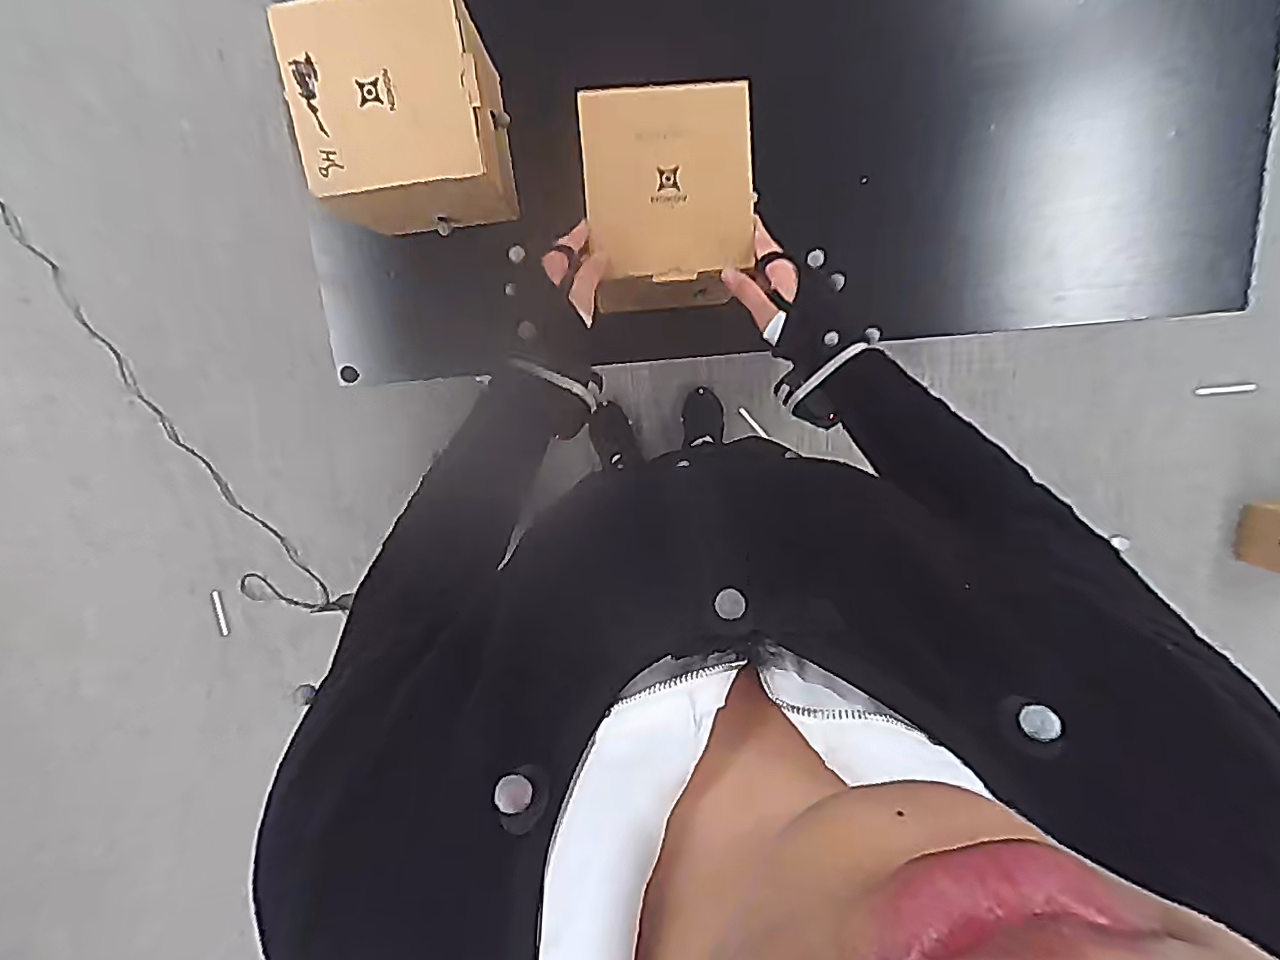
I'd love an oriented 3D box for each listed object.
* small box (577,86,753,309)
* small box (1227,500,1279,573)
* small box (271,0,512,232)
[{"bbox_3d":[0.024,-0.296,0.606,0.168,0.176,0.179,-5,97,-2],"label":"small box"},{"bbox_3d":[1.790,0.157,1.488,0.168,0.176,0.179,-5,103,1],"label":"small box"},{"bbox_3d":[-0.245,-0.383,0.587,0.179,0.176,0.168,-7,102,-1],"label":"small box"}]
